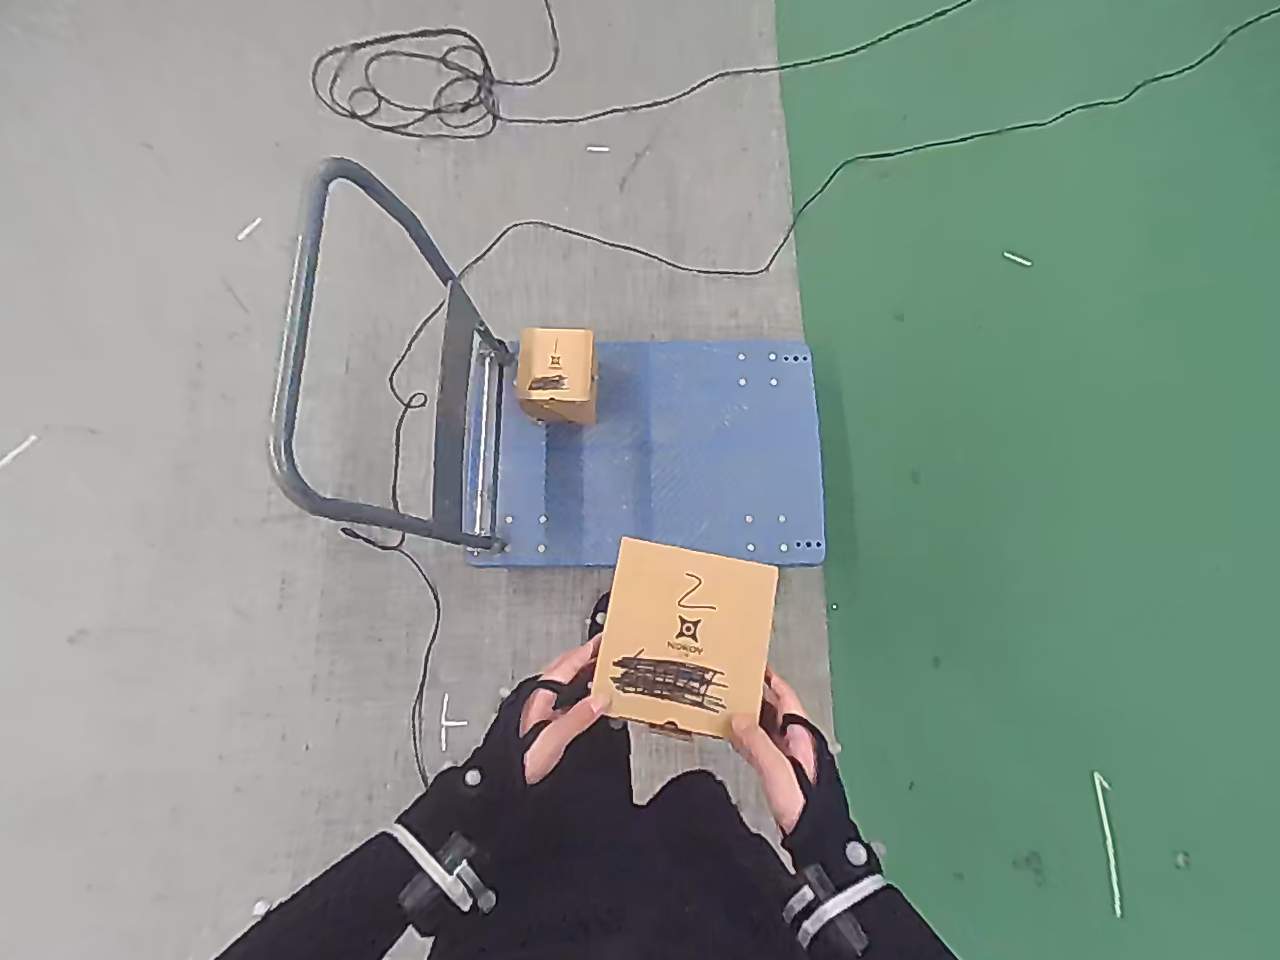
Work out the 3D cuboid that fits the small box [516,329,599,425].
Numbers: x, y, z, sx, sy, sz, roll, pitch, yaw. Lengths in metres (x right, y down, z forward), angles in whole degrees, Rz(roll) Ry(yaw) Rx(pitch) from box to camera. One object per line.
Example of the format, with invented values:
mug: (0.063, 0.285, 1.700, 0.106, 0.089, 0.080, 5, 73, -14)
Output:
small box: (-0.187, -0.236, 1.279, 0.168, 0.176, 0.179, 3, 77, -1)
